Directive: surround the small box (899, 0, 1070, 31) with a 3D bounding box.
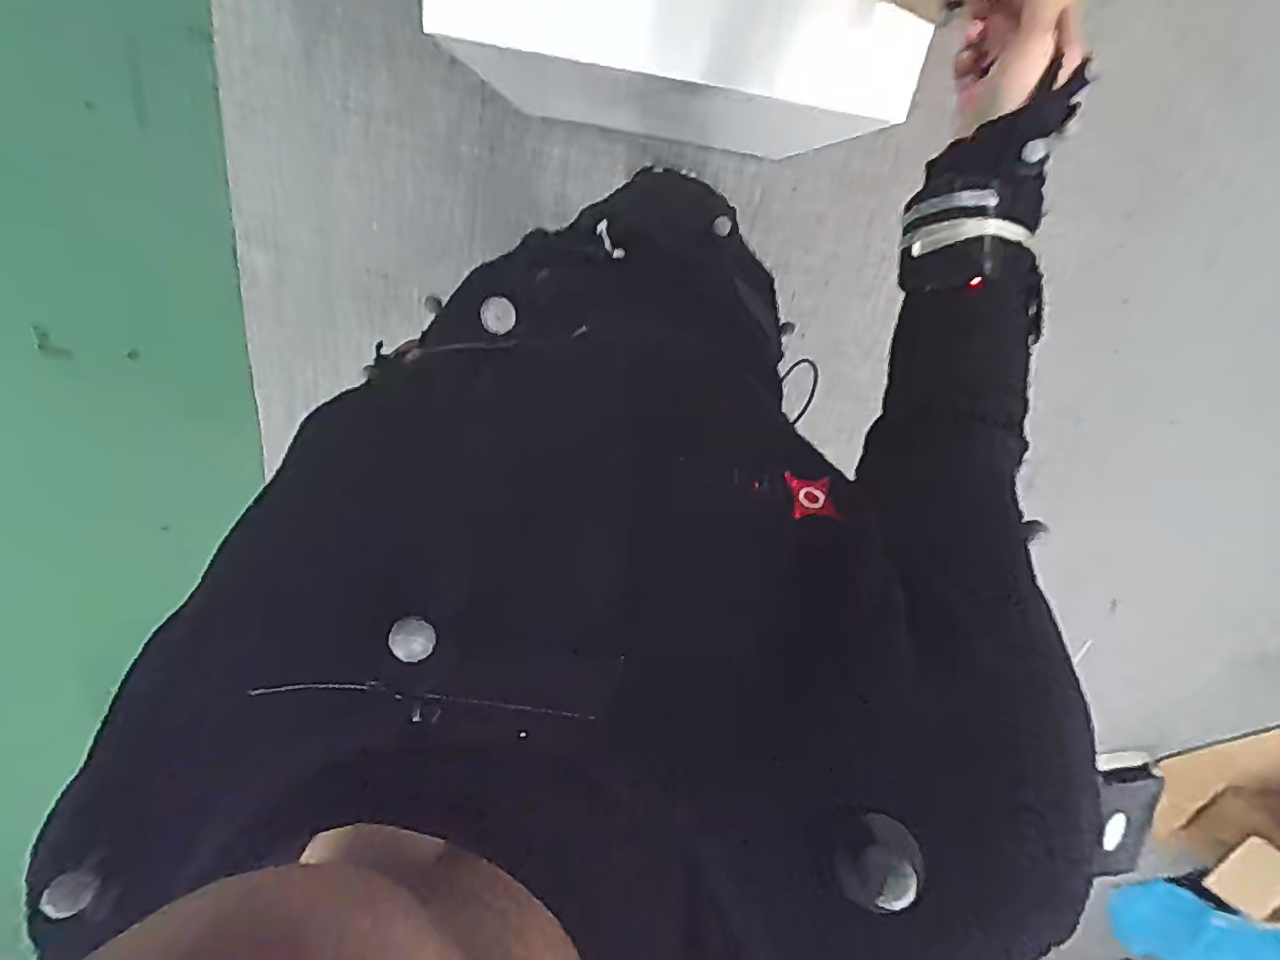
[{"bbox_3d":[0.228,-0.429,0.349,0.168,0.176,0.179,19,125,-7],"label":"small box"}]
